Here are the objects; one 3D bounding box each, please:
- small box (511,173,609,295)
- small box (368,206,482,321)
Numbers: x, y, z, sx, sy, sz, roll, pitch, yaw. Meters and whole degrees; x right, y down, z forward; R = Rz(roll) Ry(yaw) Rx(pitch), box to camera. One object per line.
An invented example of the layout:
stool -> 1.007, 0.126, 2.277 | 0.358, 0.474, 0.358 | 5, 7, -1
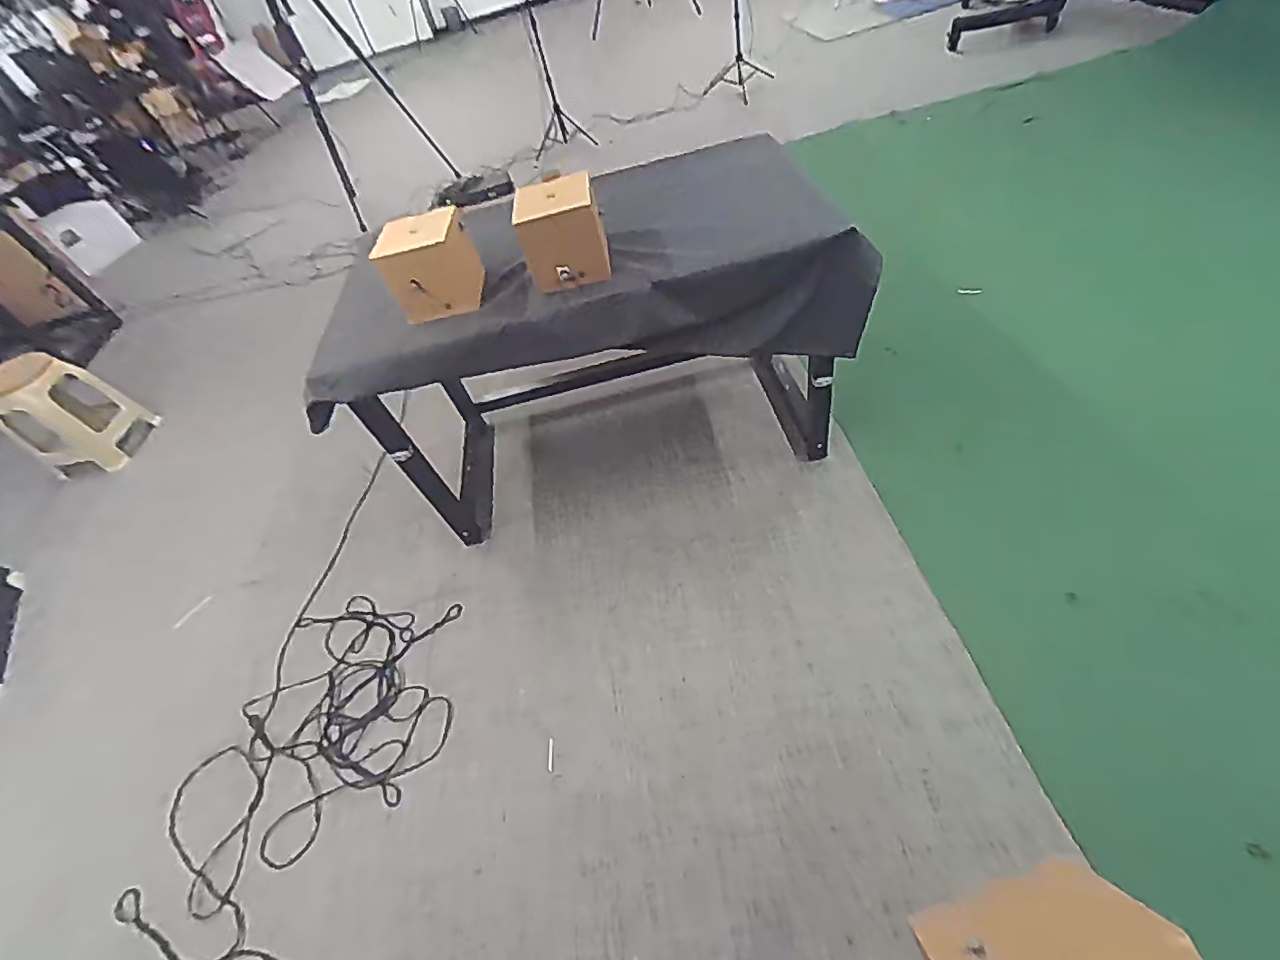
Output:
small box -> -0.169, -0.533, 1.180 | 0.168, 0.176, 0.179 | -13, 49, 5
small box -> -0.467, -0.474, 1.207 | 0.168, 0.176, 0.179 | -12, 48, 4
